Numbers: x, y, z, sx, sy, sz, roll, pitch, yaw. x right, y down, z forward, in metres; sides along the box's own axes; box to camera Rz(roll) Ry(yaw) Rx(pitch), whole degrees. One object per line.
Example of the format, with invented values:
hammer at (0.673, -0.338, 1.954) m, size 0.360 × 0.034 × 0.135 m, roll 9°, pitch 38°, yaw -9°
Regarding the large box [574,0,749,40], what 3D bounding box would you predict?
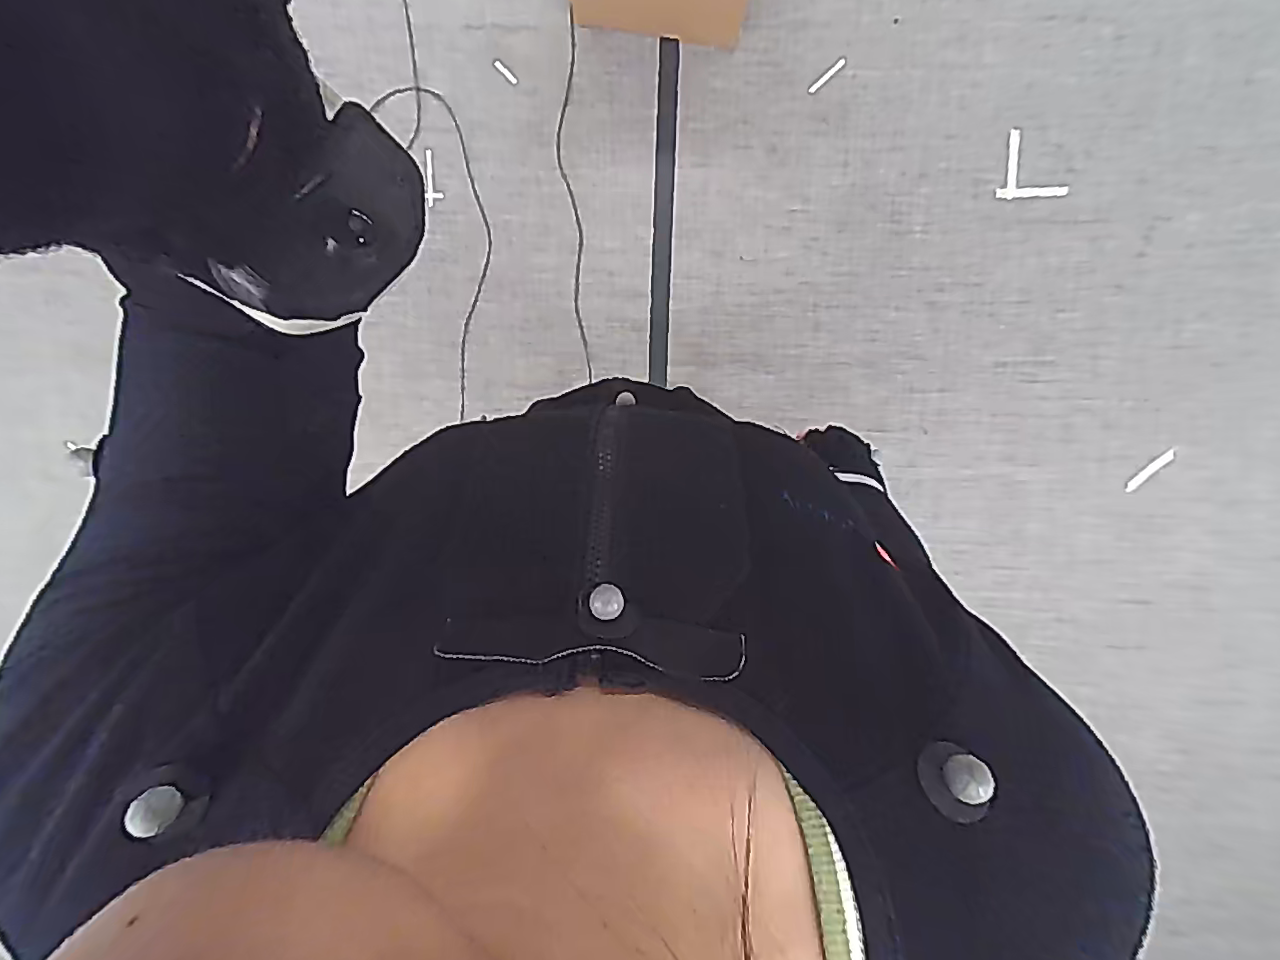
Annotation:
large box at (0.060, -1.220, 1.152) m, size 0.408 × 0.320 × 0.320 m, roll 9°, pitch 99°, yaw -1°
